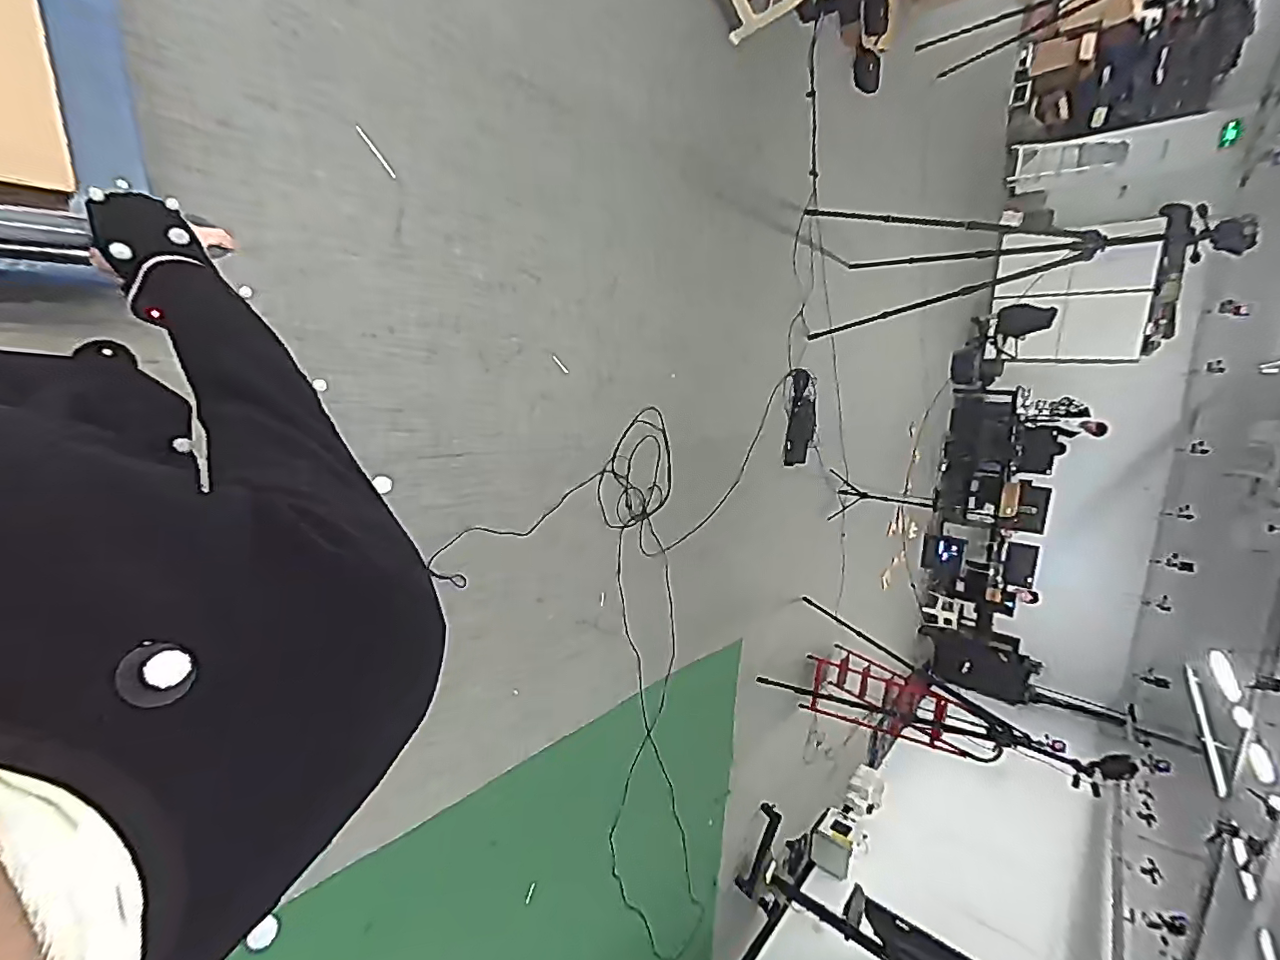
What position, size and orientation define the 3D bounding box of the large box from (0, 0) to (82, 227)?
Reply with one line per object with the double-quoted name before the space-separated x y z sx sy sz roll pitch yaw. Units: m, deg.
"large box" -1.035 -0.603 0.737 0.320 0.320 0.408 -15 108 -47
